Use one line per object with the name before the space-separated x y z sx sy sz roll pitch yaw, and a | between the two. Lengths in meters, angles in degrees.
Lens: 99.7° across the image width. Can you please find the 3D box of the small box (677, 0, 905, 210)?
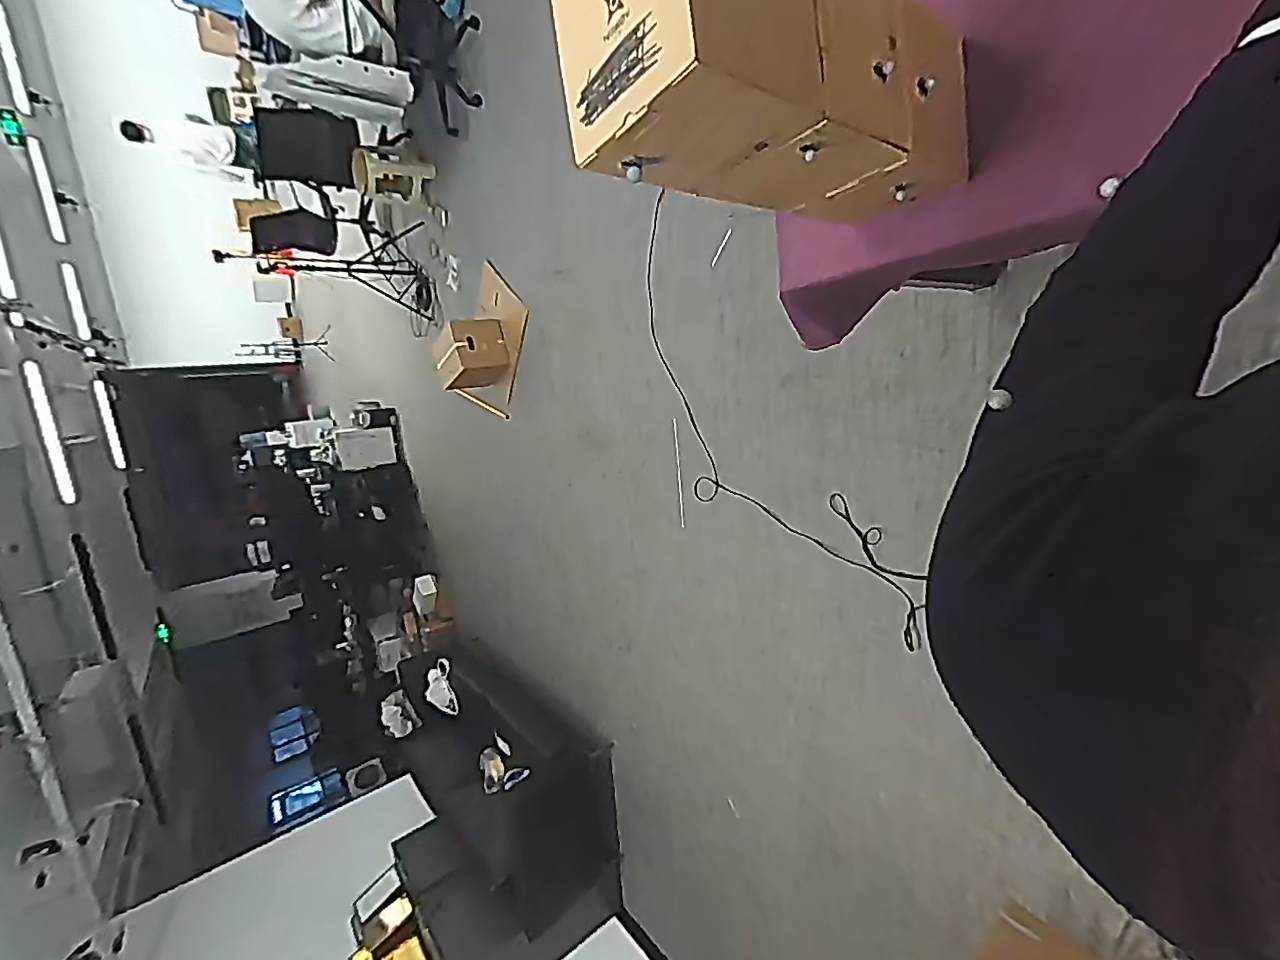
small box | 0.168 -0.424 0.605 0.179 0.176 0.168 -1 100 50

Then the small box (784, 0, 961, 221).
small box | 0.296 -0.452 0.700 0.168 0.176 0.179 3 102 51
